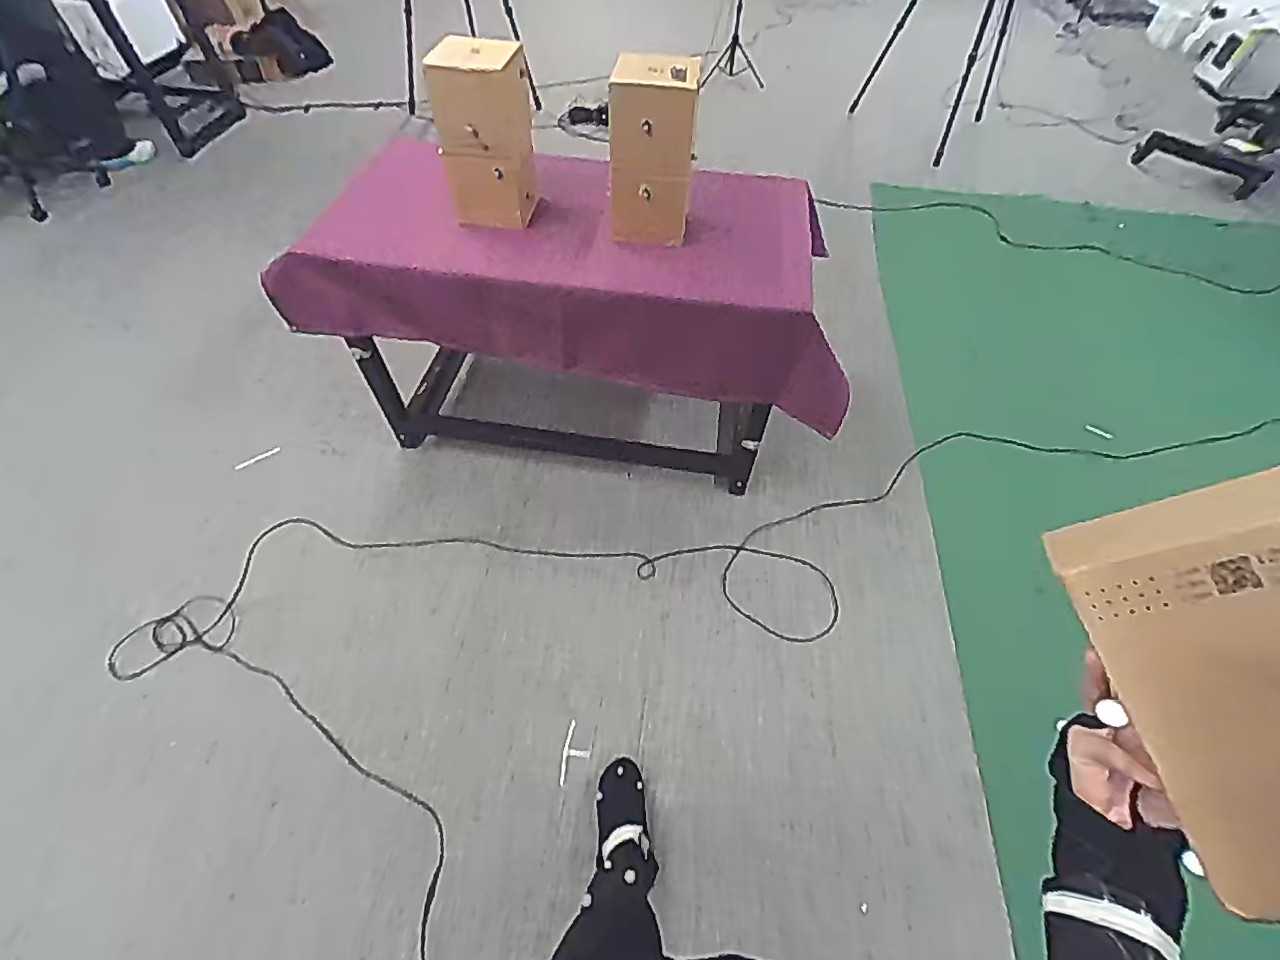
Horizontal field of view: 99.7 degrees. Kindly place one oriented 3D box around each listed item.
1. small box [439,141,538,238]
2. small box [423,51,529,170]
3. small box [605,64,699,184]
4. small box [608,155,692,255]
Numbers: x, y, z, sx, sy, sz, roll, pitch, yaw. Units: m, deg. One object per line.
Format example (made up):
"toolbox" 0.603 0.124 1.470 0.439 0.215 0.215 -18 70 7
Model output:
"small box" -0.362 -0.717 1.329 0.179 0.176 0.168 7 53 3
"small box" -0.351 -0.818 1.199 0.168 0.176 0.179 6 53 3
"small box" 0.027 -0.763 1.165 0.179 0.176 0.168 6 54 4
"small box" 0.025 -0.664 1.297 0.179 0.176 0.168 8 54 4
